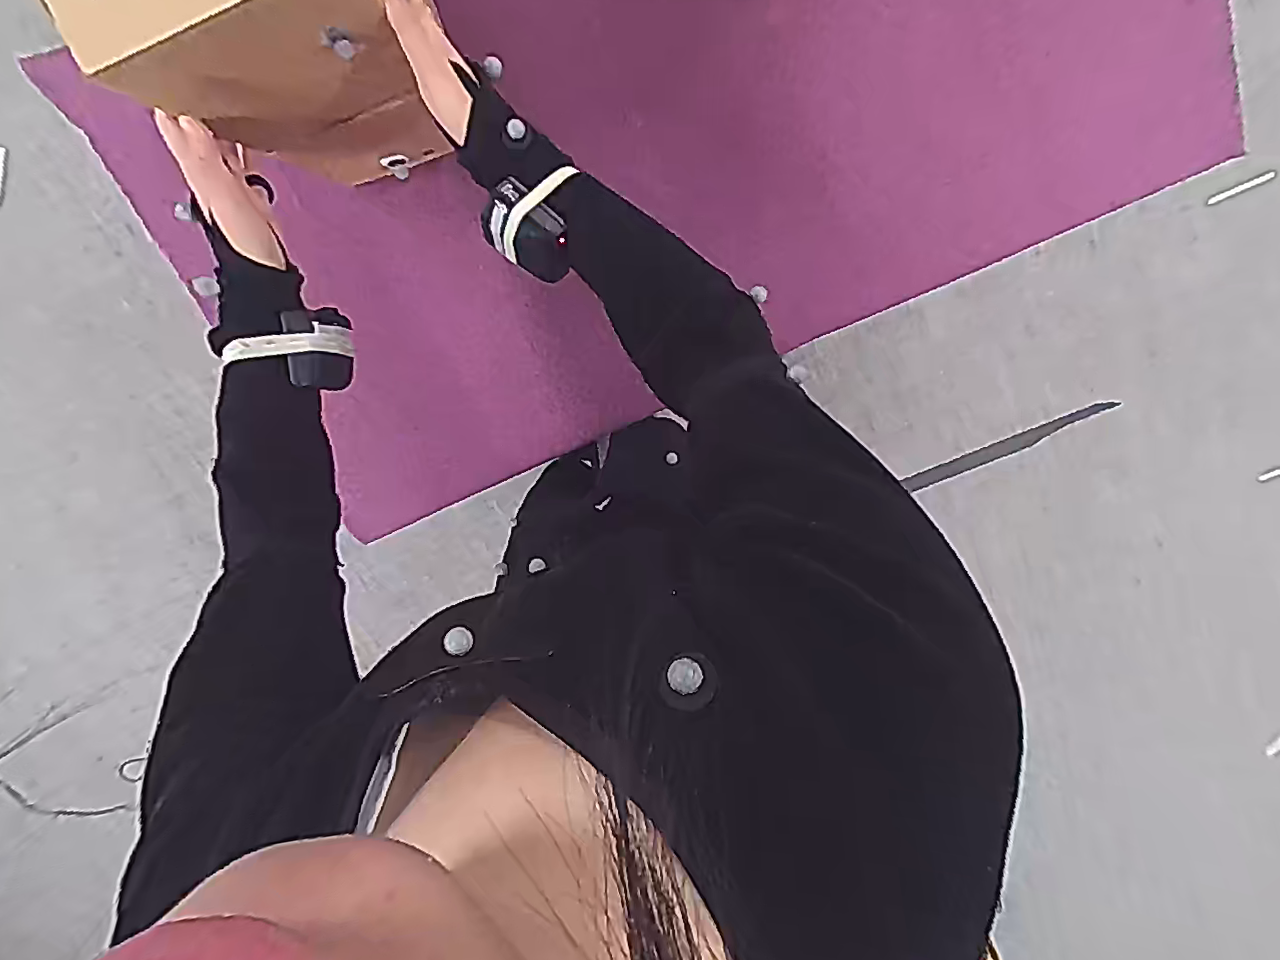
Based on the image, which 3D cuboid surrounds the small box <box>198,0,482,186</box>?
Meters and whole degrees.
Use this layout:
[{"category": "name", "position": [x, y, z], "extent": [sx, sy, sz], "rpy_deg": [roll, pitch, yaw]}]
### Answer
[{"category": "small box", "position": [-0.278, -0.415, 0.524], "extent": [0.168, 0.176, 0.179], "rpy_deg": [-18, 109, 5]}]
